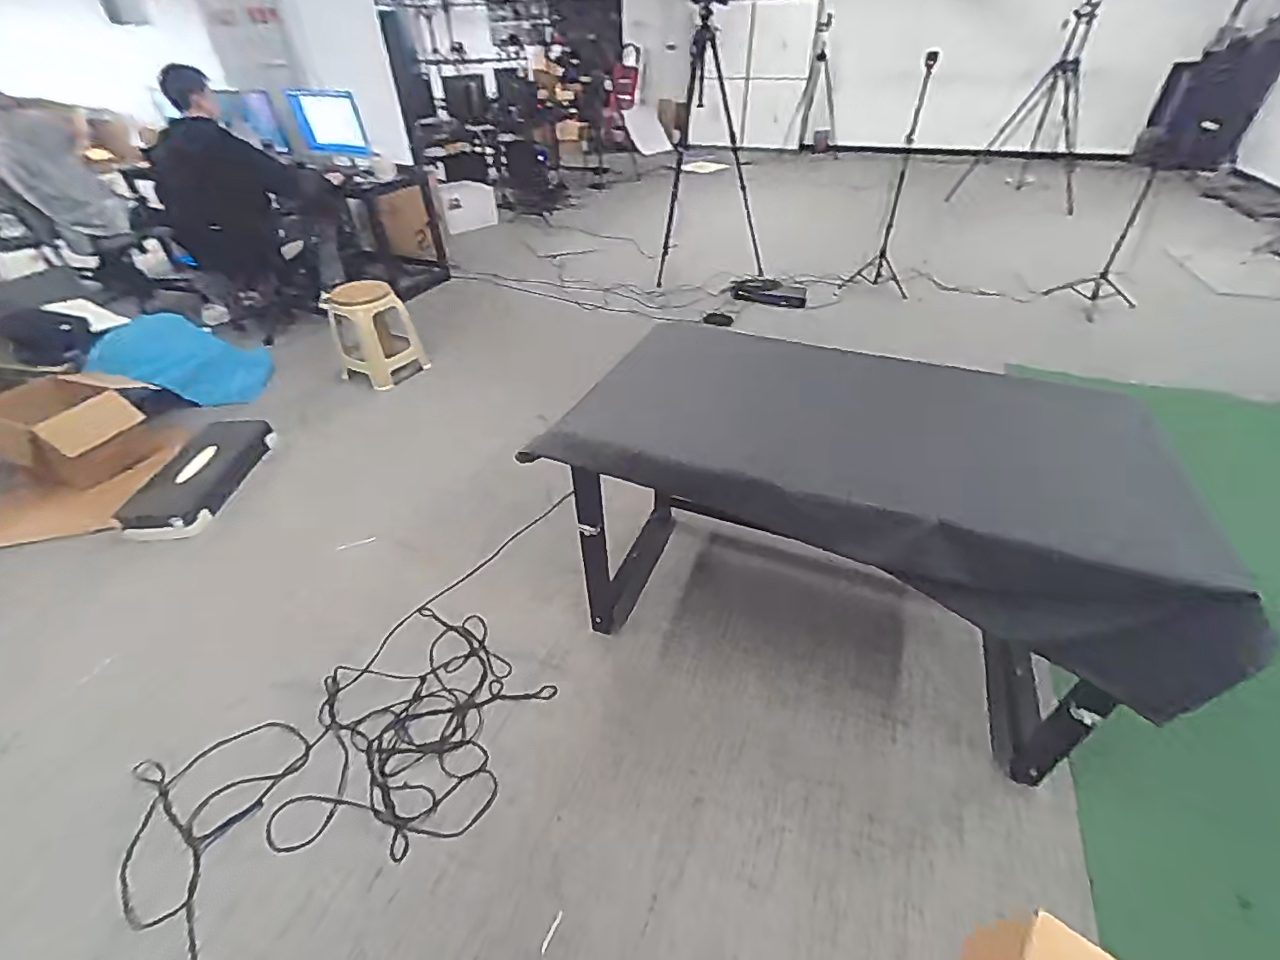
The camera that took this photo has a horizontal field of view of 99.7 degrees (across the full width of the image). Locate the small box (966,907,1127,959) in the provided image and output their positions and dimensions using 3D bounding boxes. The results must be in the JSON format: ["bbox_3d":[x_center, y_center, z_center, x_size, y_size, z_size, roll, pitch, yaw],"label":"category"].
[{"bbox_3d":[0.326,0.464,0.388,0.168,0.176,0.179,26,55,31],"label":"small box"}]
